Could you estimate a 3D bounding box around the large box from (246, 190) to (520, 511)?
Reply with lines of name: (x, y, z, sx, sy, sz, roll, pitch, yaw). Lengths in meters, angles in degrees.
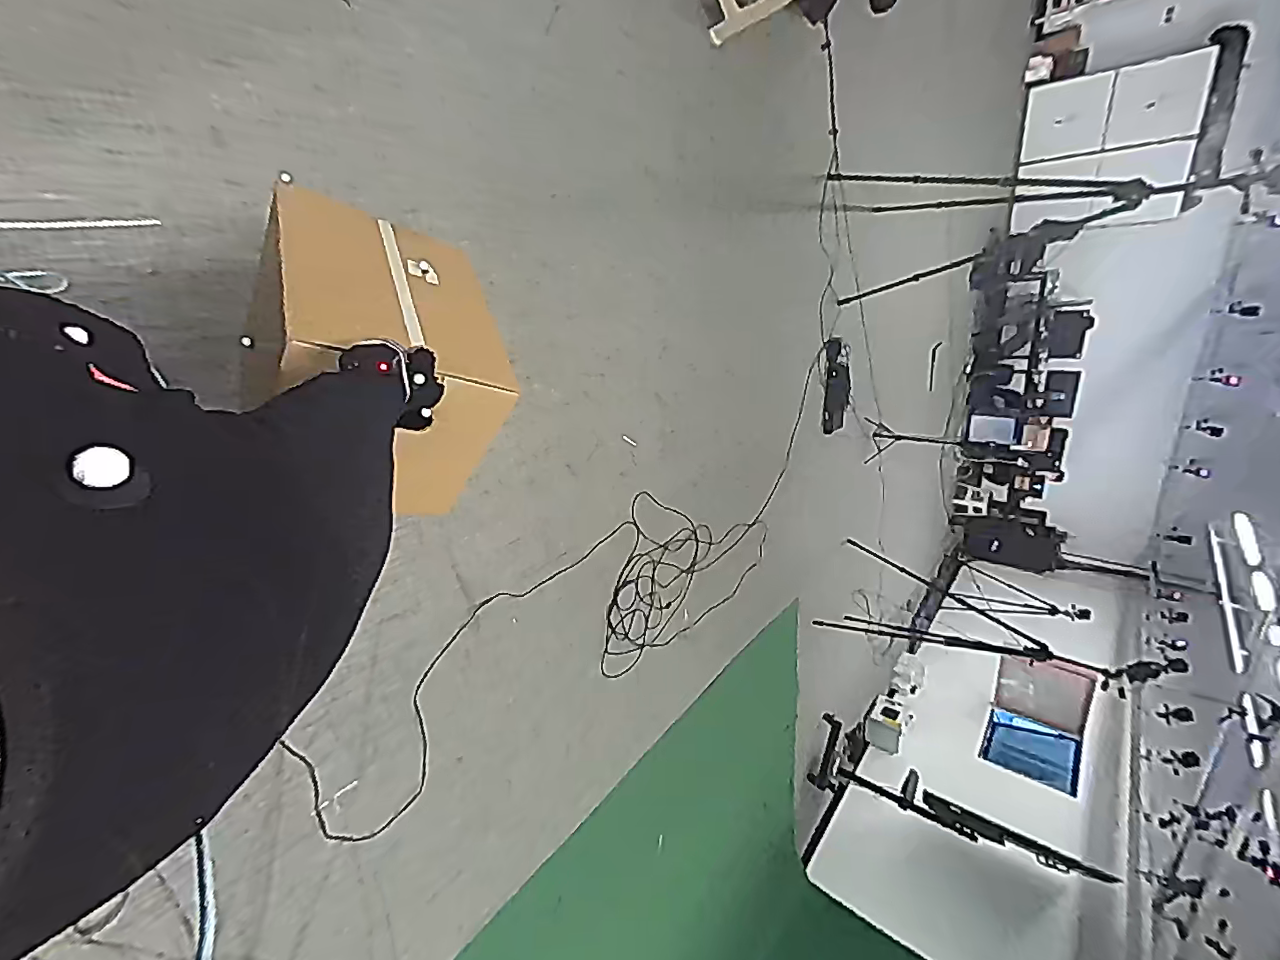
large box: (-0.458, -0.195, 0.919, 0.320, 0.408, 0.320, 8, 133, -43)
